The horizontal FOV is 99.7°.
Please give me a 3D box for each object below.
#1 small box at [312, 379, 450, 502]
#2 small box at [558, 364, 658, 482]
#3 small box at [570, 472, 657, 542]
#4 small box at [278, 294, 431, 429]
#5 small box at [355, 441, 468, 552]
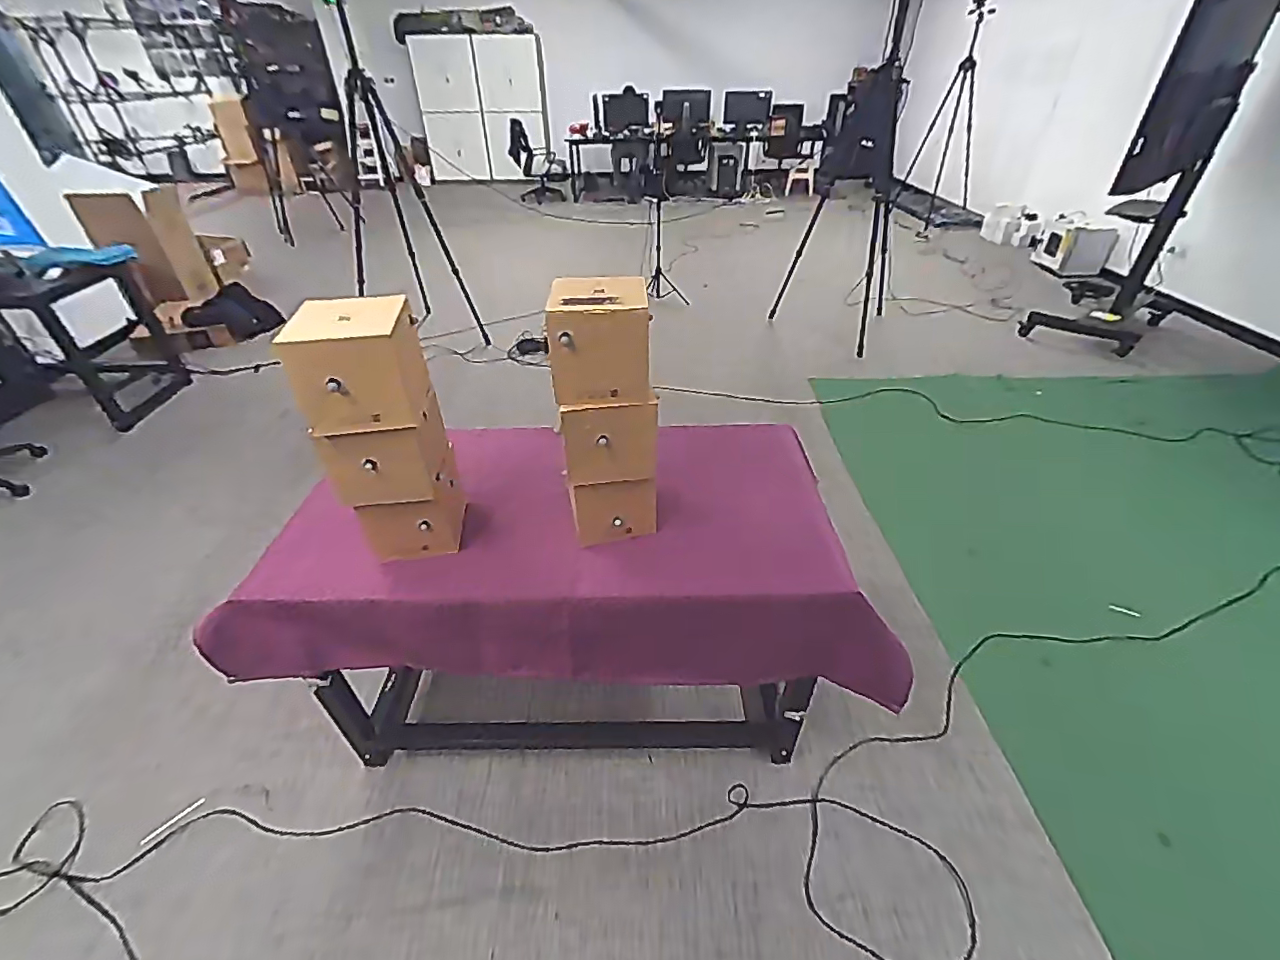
[{"bbox_3d":[-0.470,-0.074,1.016,0.179,0.176,0.168,-4,38,-5],"label":"small box"},{"bbox_3d":[-0.061,-0.109,1.050,0.179,0.176,0.168,-5,38,-6],"label":"small box"},{"bbox_3d":[-0.064,0.009,1.165,0.168,0.176,0.179,-8,38,-9],"label":"small box"},{"bbox_3d":[-0.461,-0.196,0.908,0.168,0.176,0.179,-6,38,-9],"label":"small box"},{"bbox_3d":[-0.467,0.039,1.136,0.168,0.176,0.179,-4,37,-5],"label":"small box"}]
